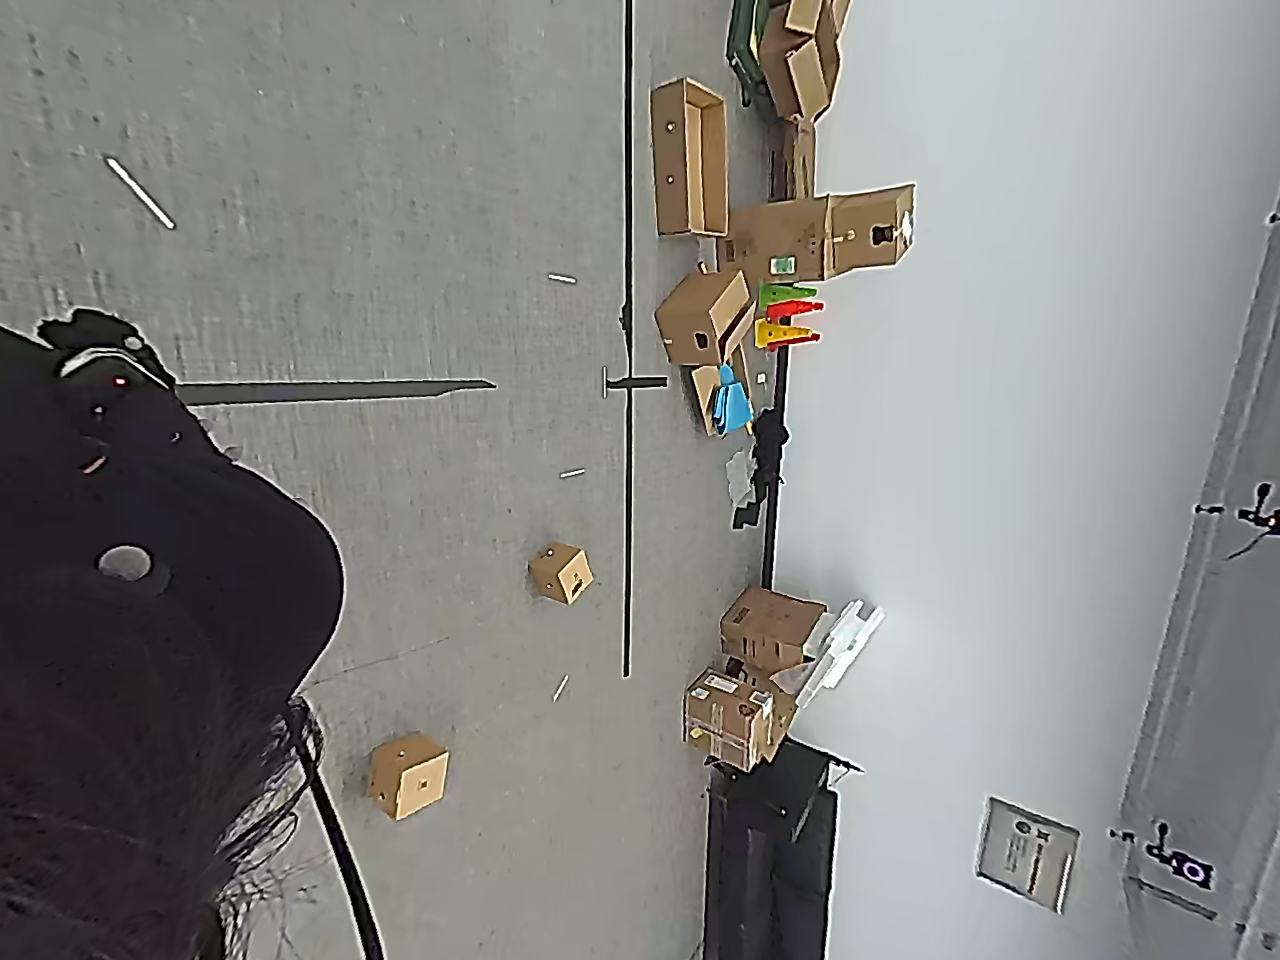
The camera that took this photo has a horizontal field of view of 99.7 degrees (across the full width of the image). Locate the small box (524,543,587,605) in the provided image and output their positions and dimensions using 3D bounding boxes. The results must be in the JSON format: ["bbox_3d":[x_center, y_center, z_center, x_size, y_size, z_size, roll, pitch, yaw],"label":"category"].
[{"bbox_3d":[-0.353,0.387,2.258,0.168,0.176,0.179,-45,132,-41],"label":"small box"}]

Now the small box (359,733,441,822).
[{"bbox_3d":[-0.788,0.964,1.769,0.179,0.176,0.168,5,96,-57],"label":"small box"}]
